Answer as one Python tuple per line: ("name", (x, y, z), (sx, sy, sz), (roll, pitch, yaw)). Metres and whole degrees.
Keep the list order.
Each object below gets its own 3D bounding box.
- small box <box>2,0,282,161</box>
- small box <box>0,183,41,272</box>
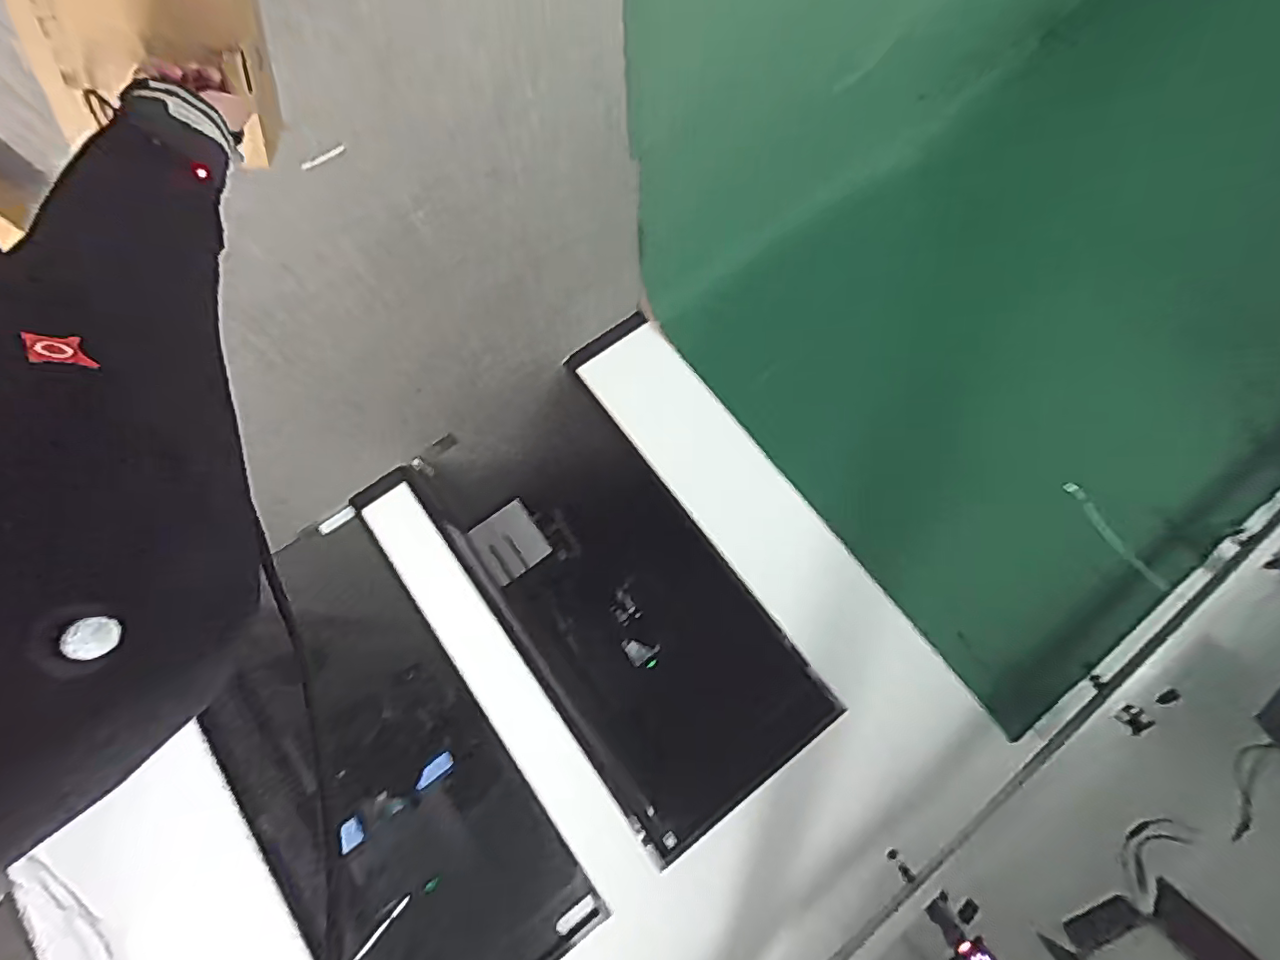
("small box", (-0.470, -0.434, 0.524), (0.176, 0.179, 0.168), (-6, 136, -24))
("small box", (-1.129, -0.431, 0.843), (0.168, 0.176, 0.179), (-35, 167, -10))
